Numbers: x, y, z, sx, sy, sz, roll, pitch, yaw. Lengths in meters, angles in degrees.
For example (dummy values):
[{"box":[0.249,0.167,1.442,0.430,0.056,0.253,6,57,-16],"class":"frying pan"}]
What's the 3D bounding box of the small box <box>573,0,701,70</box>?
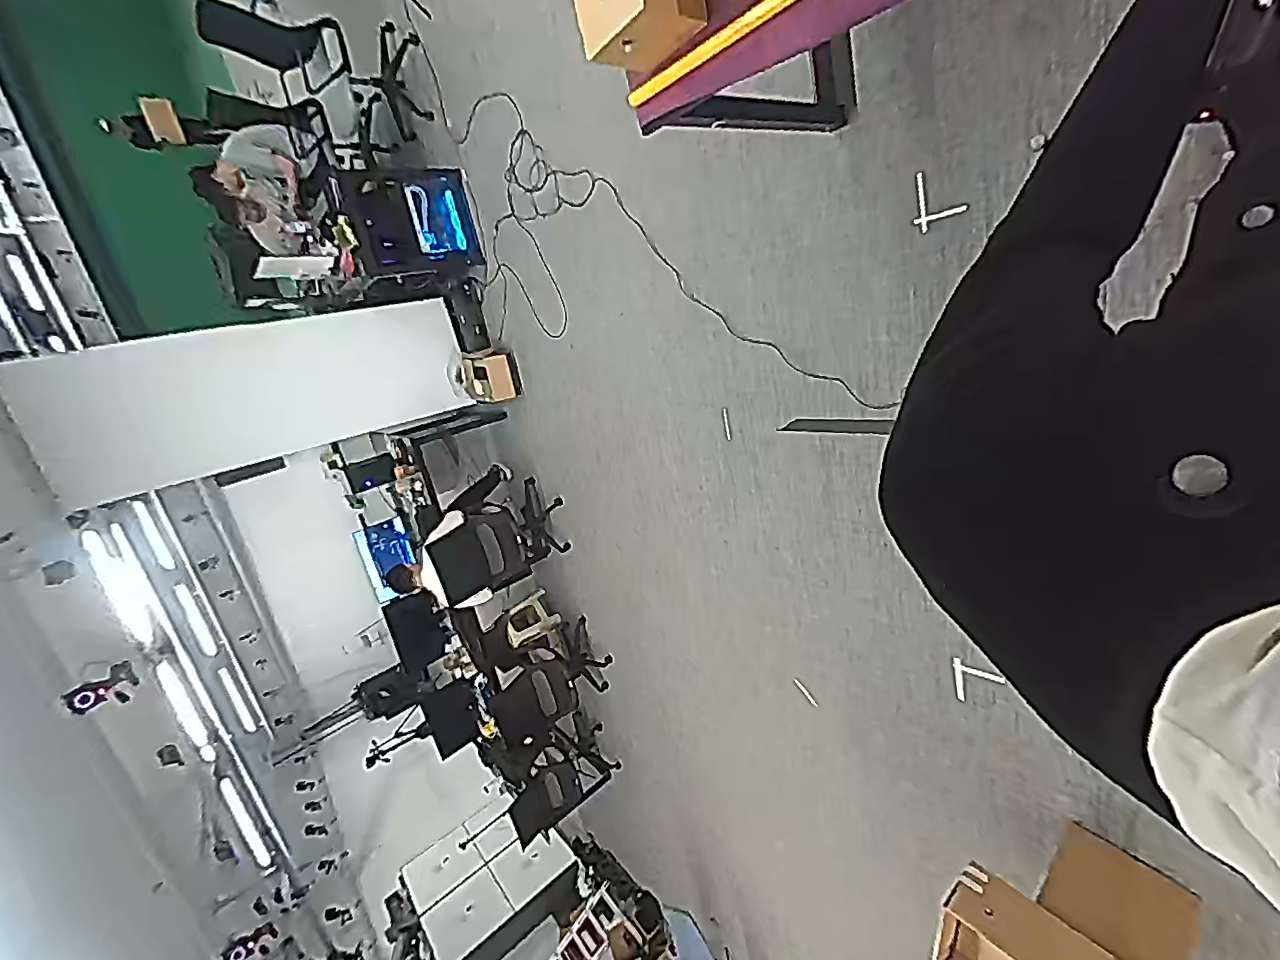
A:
[{"box":[-0.004,-0.889,0.989,0.179,0.176,0.168,8,116,52],"class":"small box"}]
